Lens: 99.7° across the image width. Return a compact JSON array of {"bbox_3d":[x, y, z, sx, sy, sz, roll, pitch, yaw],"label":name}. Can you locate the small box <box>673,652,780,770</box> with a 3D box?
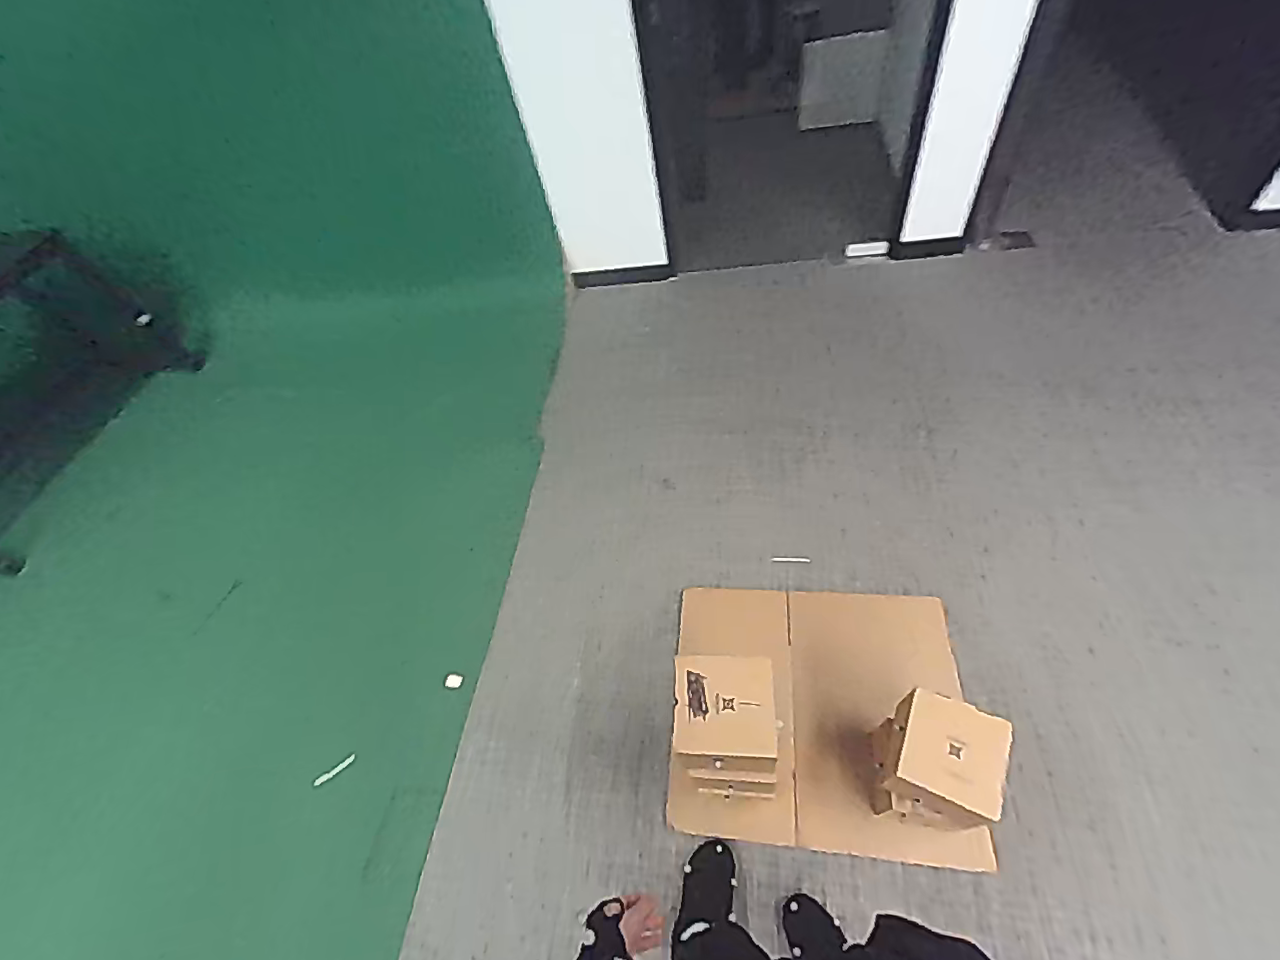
[{"bbox_3d":[0.161,0.425,0.989,0.179,0.176,0.168,-2,54,10],"label":"small box"}]

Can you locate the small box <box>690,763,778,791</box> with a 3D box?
[{"bbox_3d":[0.196,0.529,1.112,0.168,0.176,0.179,-1,54,11],"label":"small box"}]

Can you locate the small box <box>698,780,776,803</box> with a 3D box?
[{"bbox_3d":[0.226,0.629,1.240,0.168,0.176,0.179,-1,54,11],"label":"small box"}]

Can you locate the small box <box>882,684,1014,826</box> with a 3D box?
[{"bbox_3d":[0.579,0.526,1.031,0.168,0.176,0.179,19,61,22],"label":"small box"}]
